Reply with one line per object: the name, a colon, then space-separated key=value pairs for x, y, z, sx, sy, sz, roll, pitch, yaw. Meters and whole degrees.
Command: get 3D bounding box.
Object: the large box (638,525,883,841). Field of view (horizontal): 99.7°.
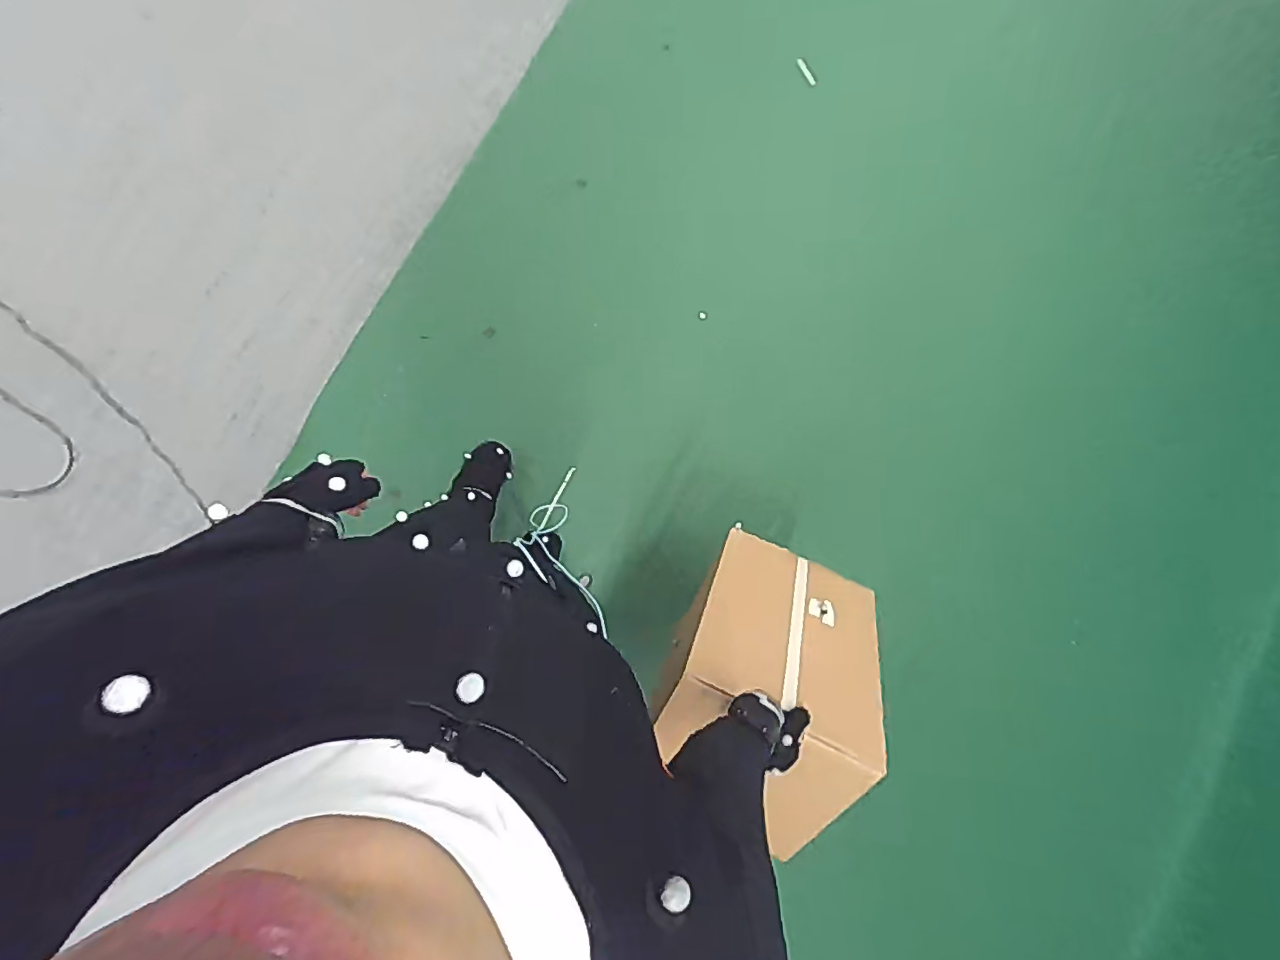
large box: x=0.227 y=0.363 z=1.031 sx=0.320 sy=0.408 sz=0.320 roll=25 pitch=123 yaw=6
